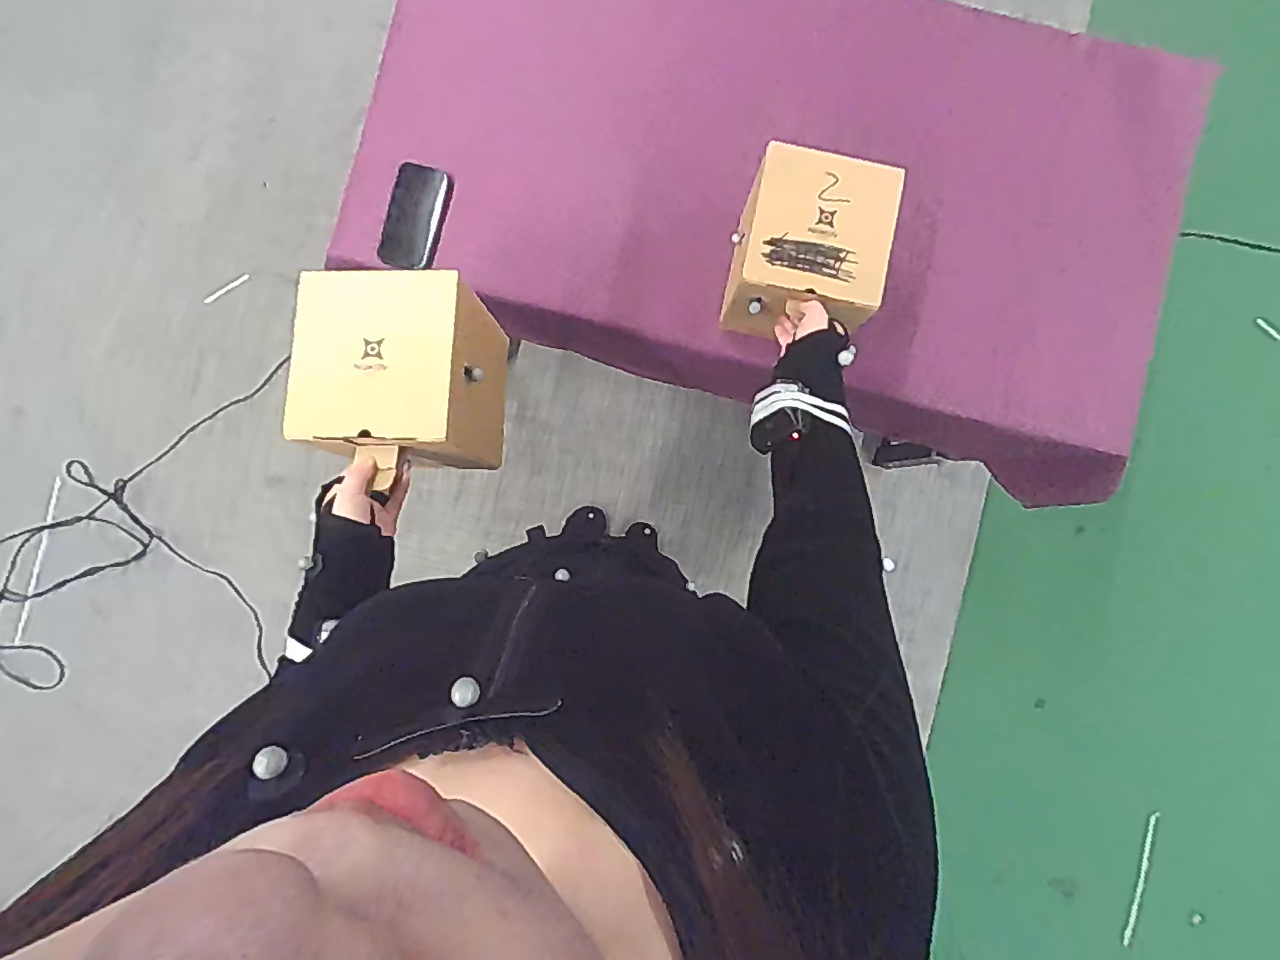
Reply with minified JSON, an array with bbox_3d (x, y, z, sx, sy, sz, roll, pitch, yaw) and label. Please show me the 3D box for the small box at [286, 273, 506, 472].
[{"bbox_3d":[-0.256,-0.110,0.611,0.168,0.176,0.179,2,83,3],"label":"small box"}]
